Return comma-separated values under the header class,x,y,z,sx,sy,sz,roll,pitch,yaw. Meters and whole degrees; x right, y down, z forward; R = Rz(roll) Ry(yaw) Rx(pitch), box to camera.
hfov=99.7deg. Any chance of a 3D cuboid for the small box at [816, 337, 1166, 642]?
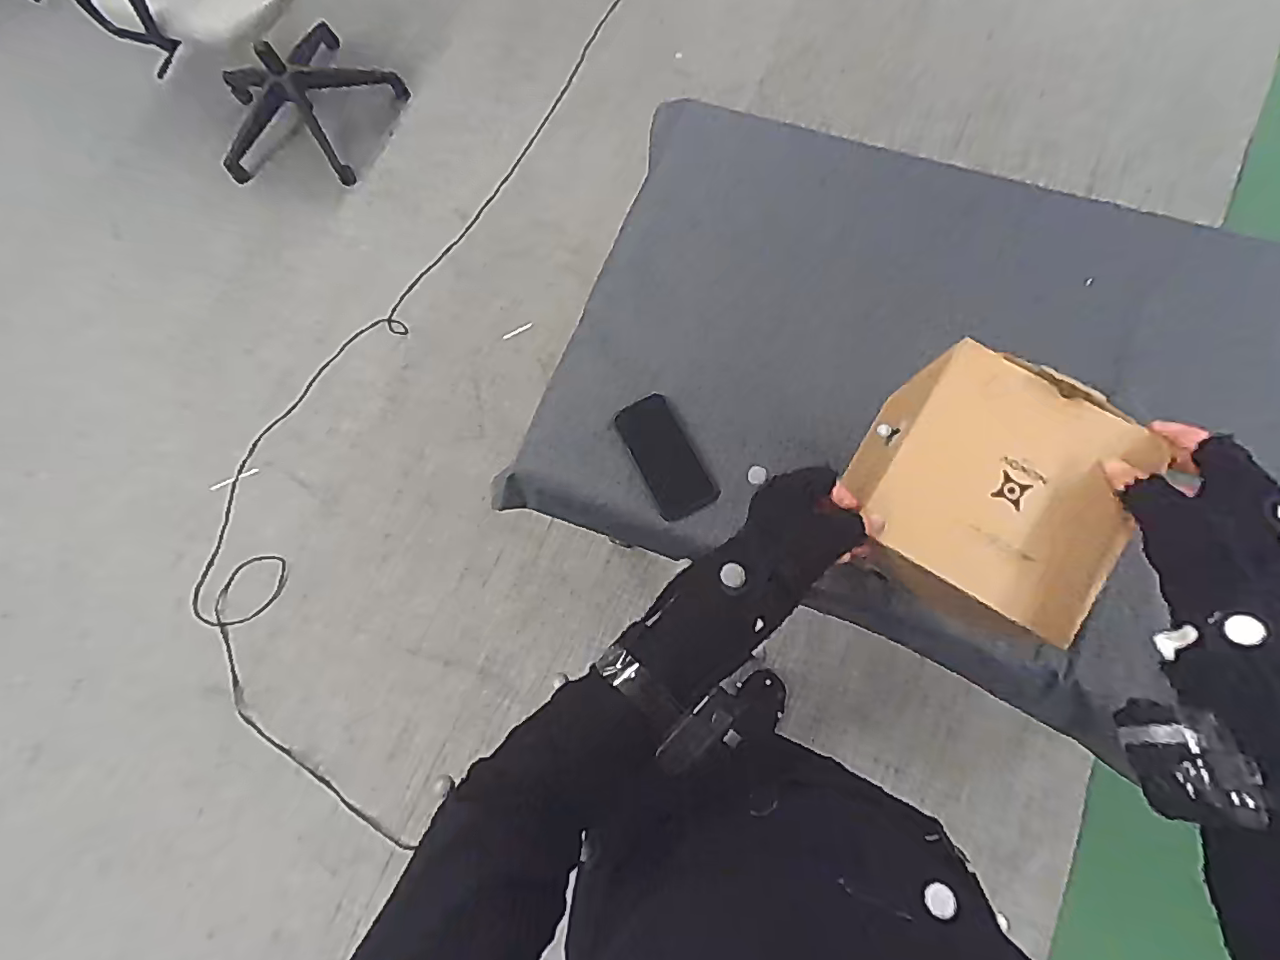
class,x,y,z,sx,sy,sz,roll,pitch,yaw
small box,0.278,0.013,0.477,0.168,0.176,0.179,31,87,10
